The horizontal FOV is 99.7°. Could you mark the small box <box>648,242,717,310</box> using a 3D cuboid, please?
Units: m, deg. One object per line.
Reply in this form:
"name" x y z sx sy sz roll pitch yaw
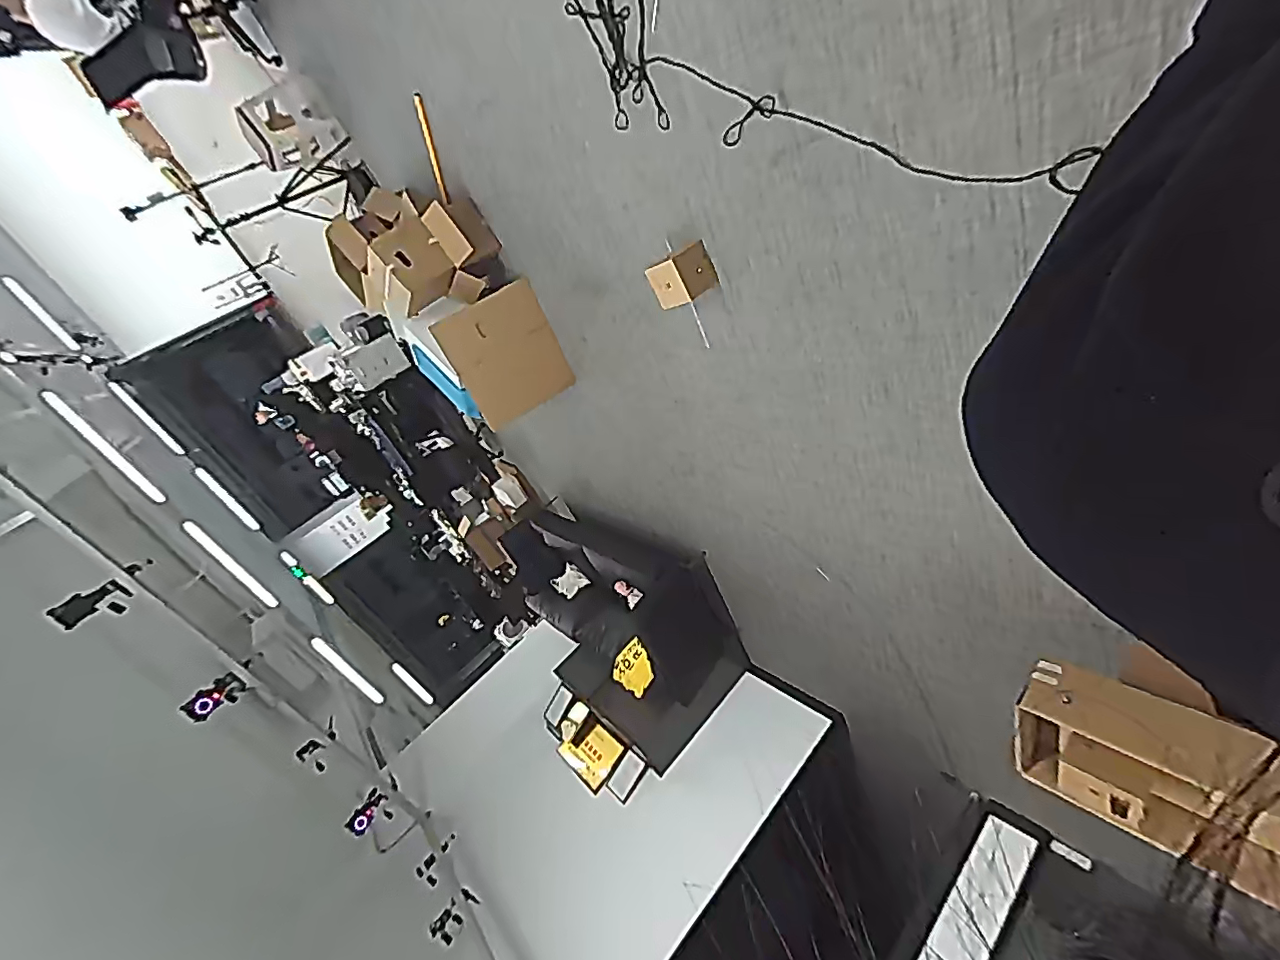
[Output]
"small box" 0.169 -0.771 2.041 0.179 0.176 0.168 8 134 56
